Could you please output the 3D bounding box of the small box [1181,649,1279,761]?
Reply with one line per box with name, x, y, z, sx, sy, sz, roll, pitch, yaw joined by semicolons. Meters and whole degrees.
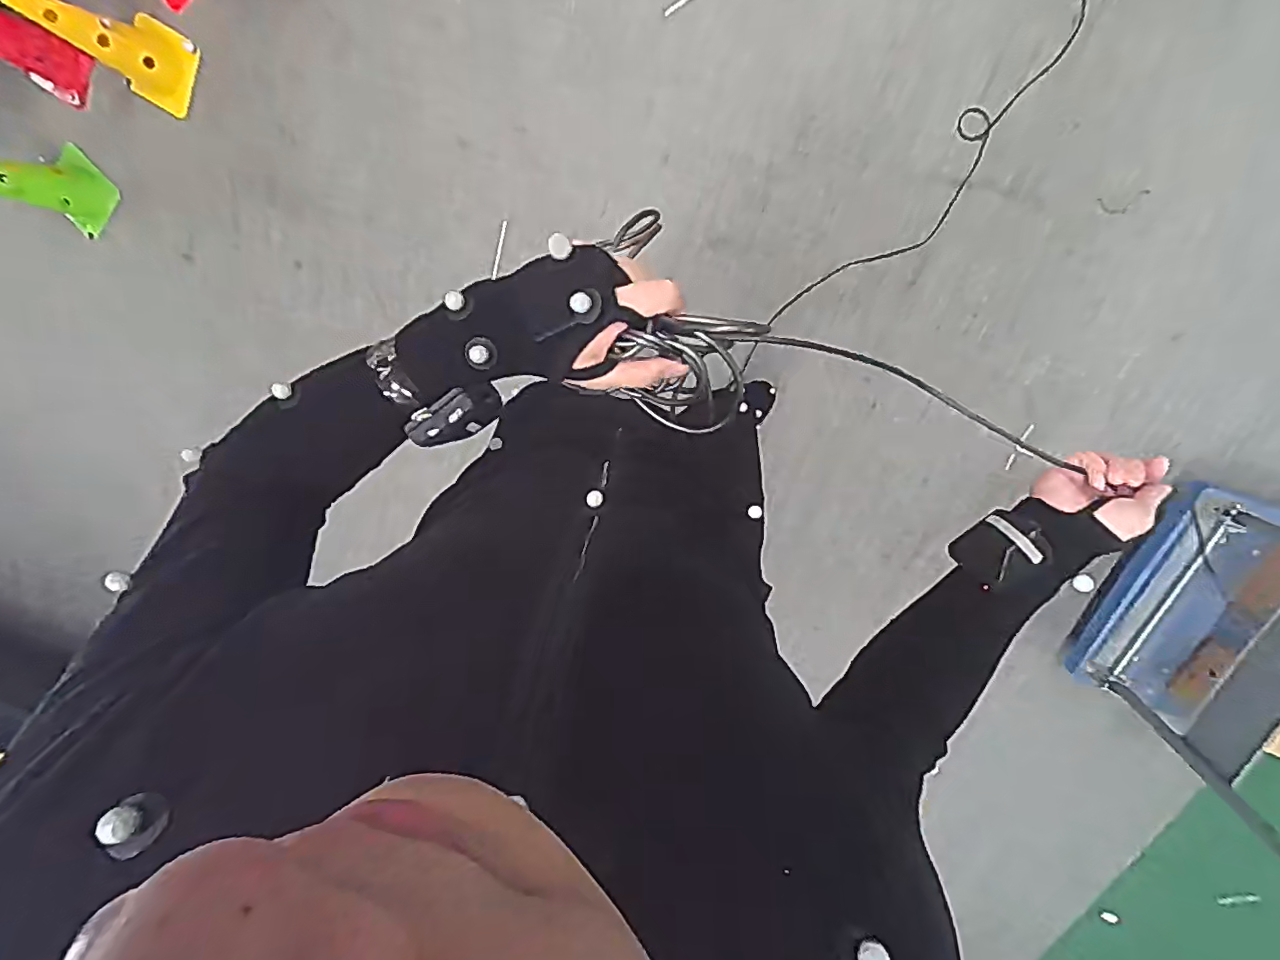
small box;1.458;0.528;1.264;0.179;0.176;0.168;21;108;4
